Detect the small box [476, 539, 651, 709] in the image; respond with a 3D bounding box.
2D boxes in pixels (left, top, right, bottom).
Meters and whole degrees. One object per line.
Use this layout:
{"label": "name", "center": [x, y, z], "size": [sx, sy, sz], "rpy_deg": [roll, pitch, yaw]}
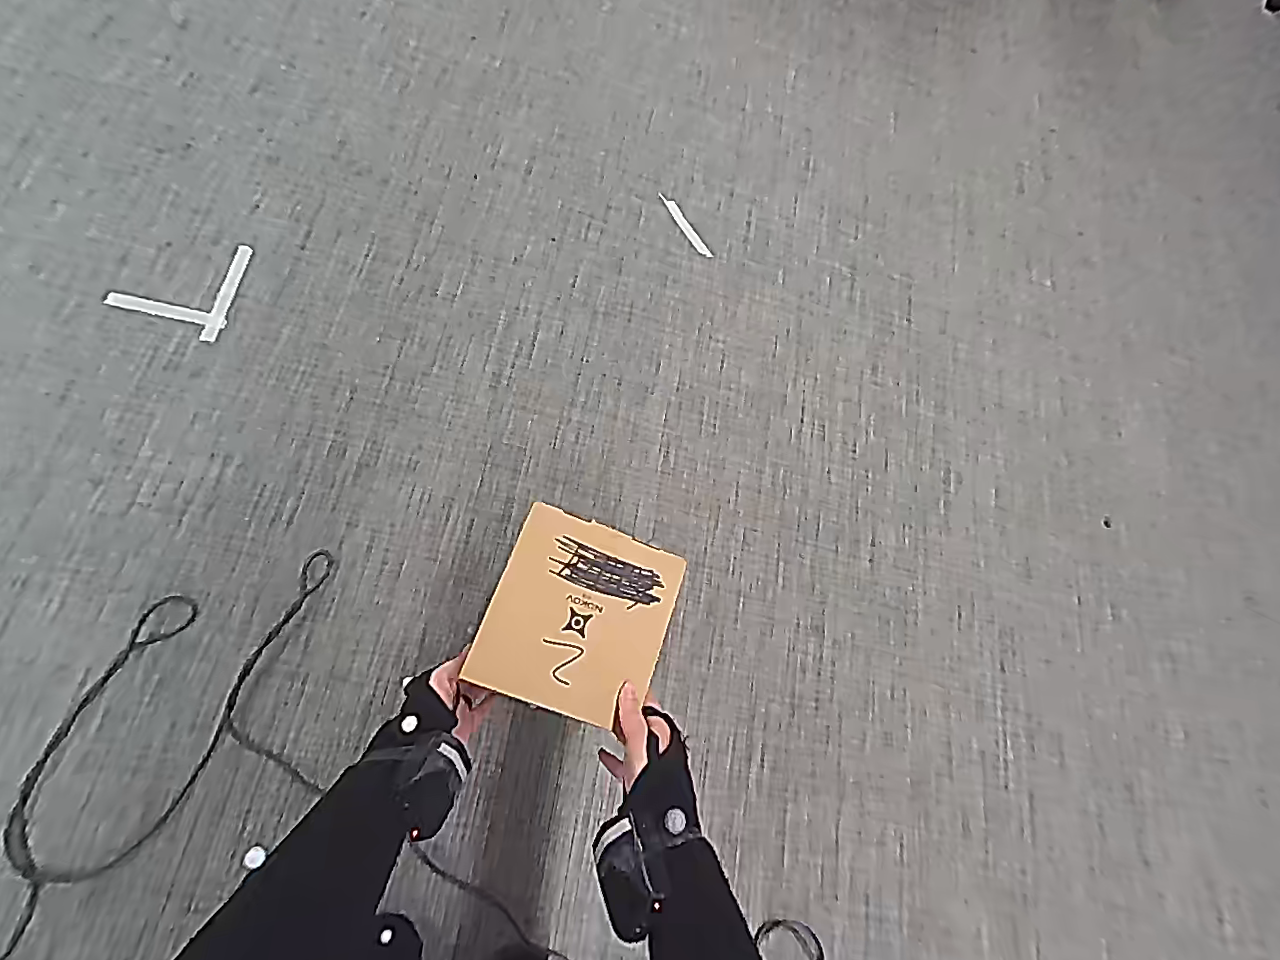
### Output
{"label": "small box", "center": [-0.105, 0.197, 0.734], "size": [0.179, 0.176, 0.168], "rpy_deg": [19, 70, -7]}
